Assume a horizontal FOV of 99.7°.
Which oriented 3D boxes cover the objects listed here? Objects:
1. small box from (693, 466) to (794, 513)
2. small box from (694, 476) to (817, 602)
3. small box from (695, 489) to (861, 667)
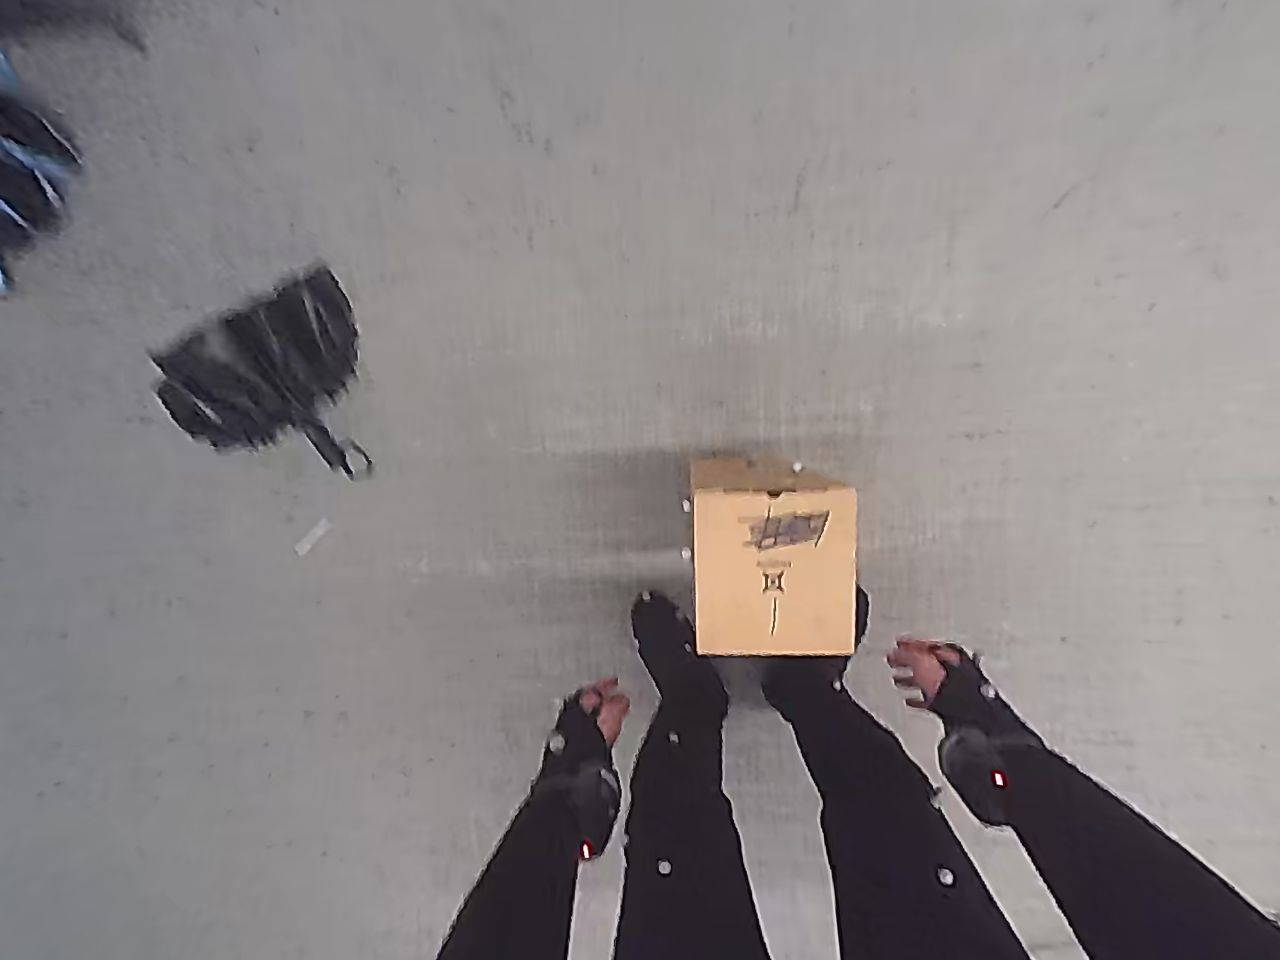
[{"bbox_3d":[0.181,0.072,0.971,0.168,0.176,0.179,-2,96,5],"label":"small box"},{"bbox_3d":[0.166,0.089,0.810,0.168,0.176,0.179,-2,94,5],"label":"small box"},{"bbox_3d":[0.152,0.104,0.646,0.168,0.176,0.179,-2,97,5],"label":"small box"}]
